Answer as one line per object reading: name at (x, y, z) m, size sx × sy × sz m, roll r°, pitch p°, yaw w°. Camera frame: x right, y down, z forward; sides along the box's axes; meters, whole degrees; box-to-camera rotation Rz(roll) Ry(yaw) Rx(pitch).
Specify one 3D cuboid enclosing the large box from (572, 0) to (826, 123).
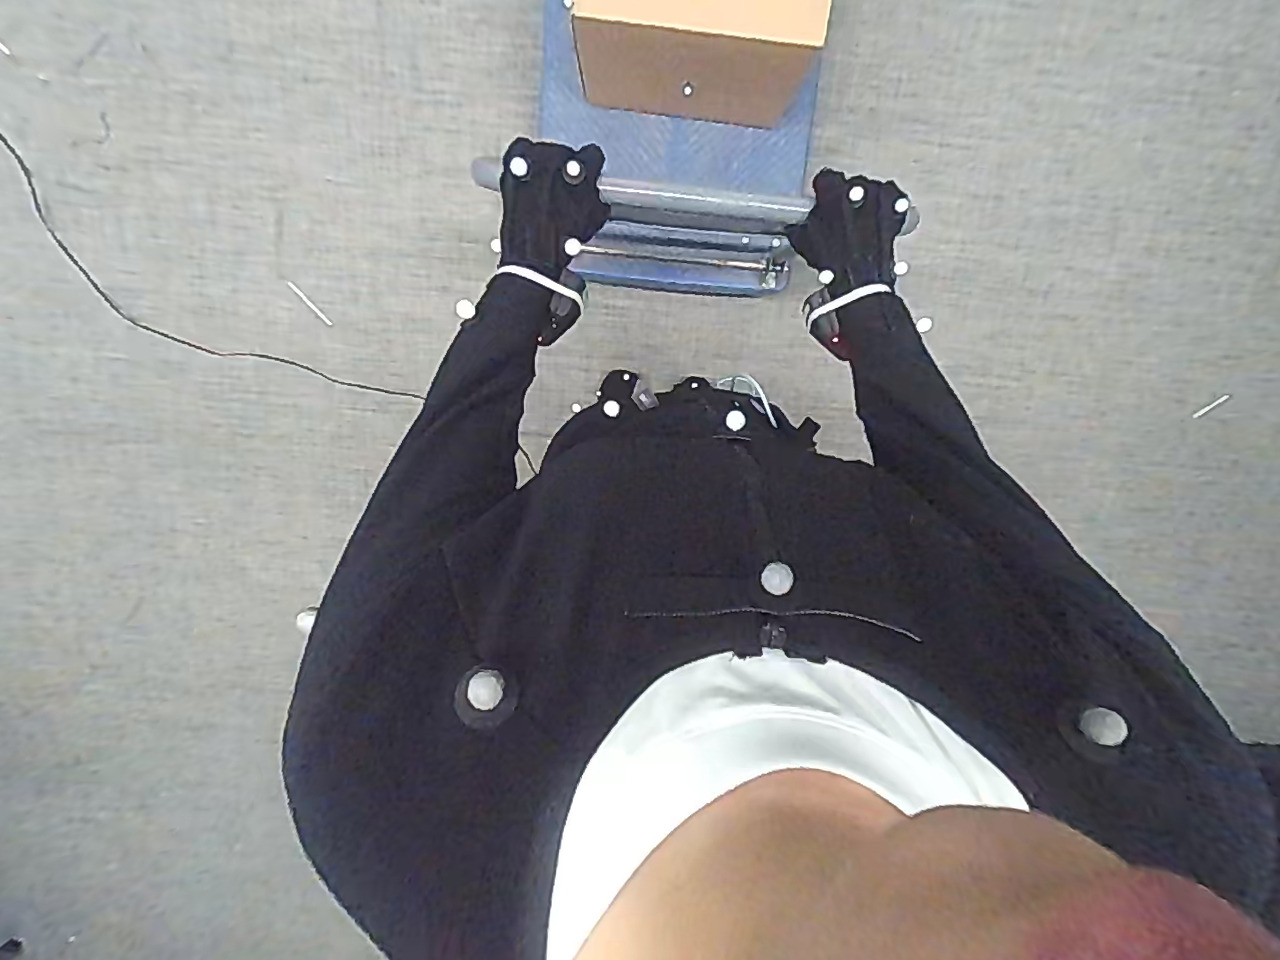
large box at (0.104, -0.887, 0.972) m, size 0.408 × 0.320 × 0.320 m, roll 5°, pitch 101°, yaw -1°
